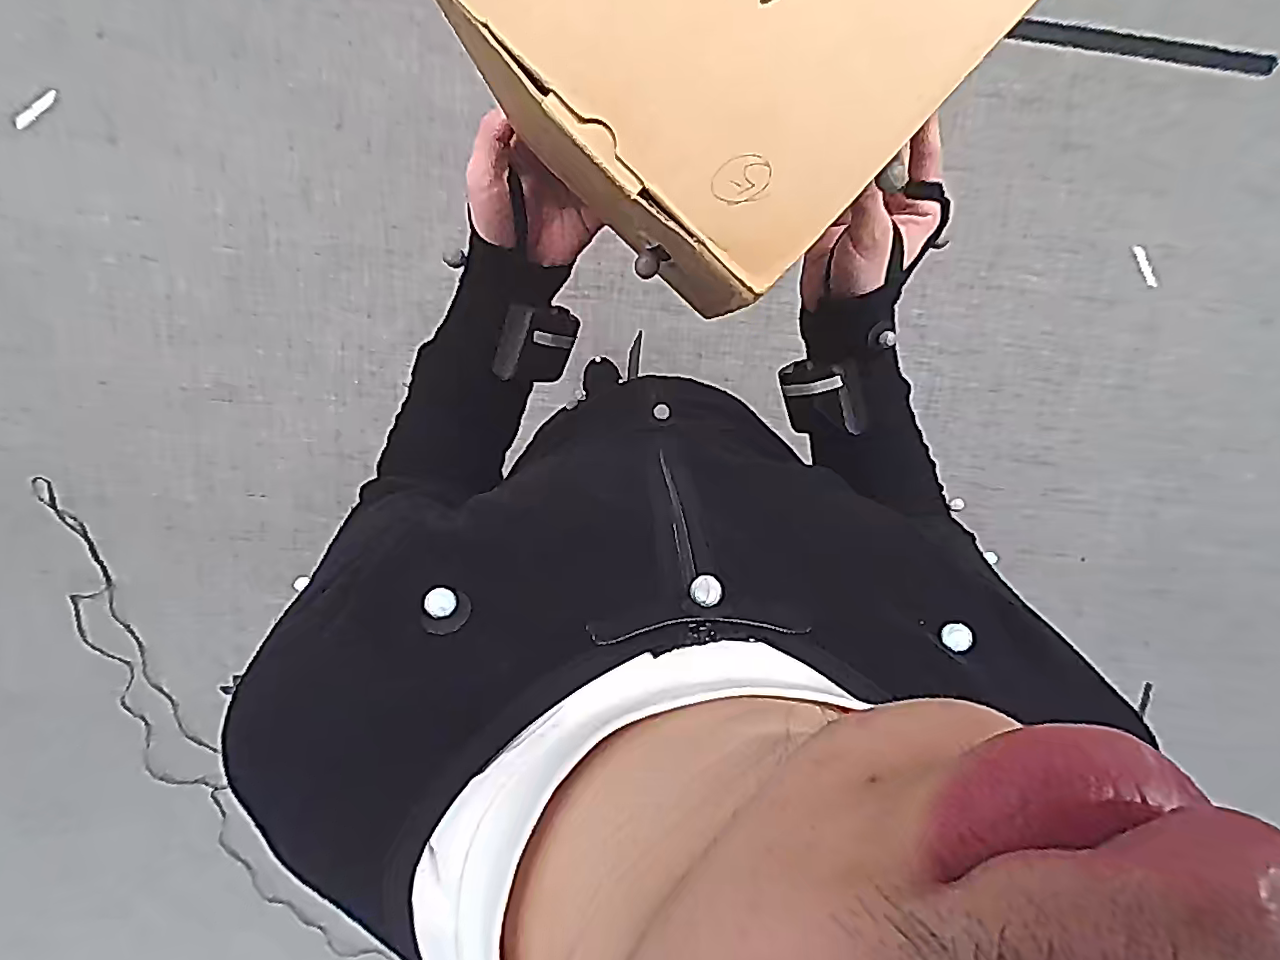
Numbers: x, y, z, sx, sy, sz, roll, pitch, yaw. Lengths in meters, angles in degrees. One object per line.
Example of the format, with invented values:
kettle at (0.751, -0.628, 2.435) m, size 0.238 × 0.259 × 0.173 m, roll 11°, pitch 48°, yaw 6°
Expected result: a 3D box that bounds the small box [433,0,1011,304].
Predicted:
small box at (0.039, -0.207, 0.265) m, size 0.168 × 0.176 × 0.179 m, roll 41°, pitch 100°, yaw -10°
